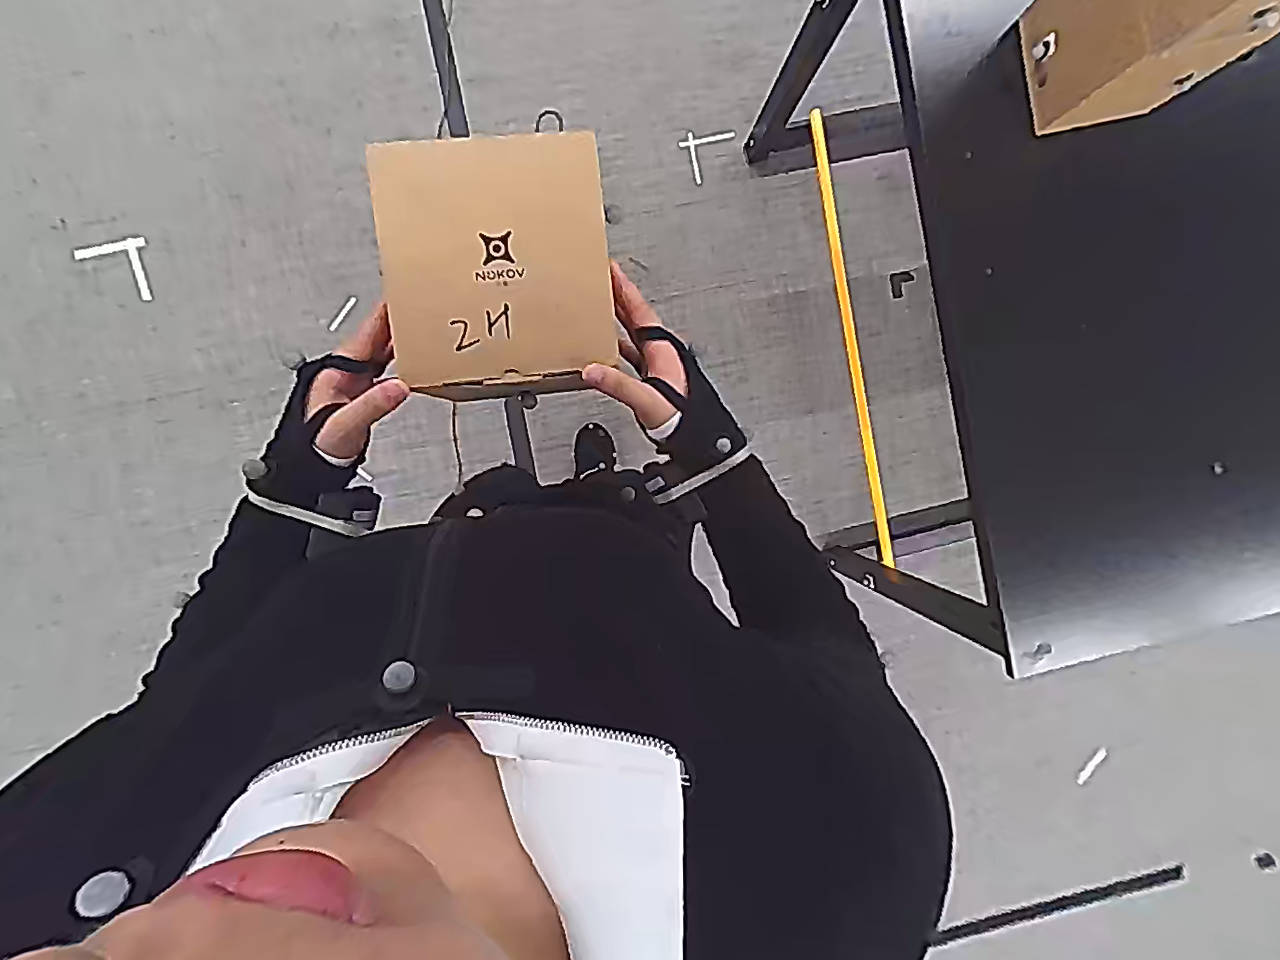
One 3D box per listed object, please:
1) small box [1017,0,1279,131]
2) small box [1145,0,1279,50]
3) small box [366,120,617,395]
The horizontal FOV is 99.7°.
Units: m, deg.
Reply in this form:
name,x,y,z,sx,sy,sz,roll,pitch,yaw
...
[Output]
name,x,y,z,sx,sy,sz,roll,pitch,yaw
small box,0.637,-0.591,0.694,0.179,0.176,0.168,-14,93,-2
small box,0.642,-0.582,0.530,0.168,0.176,0.179,-15,95,-3
small box,-0.113,-0.176,0.474,0.168,0.176,0.179,-6,95,-4
